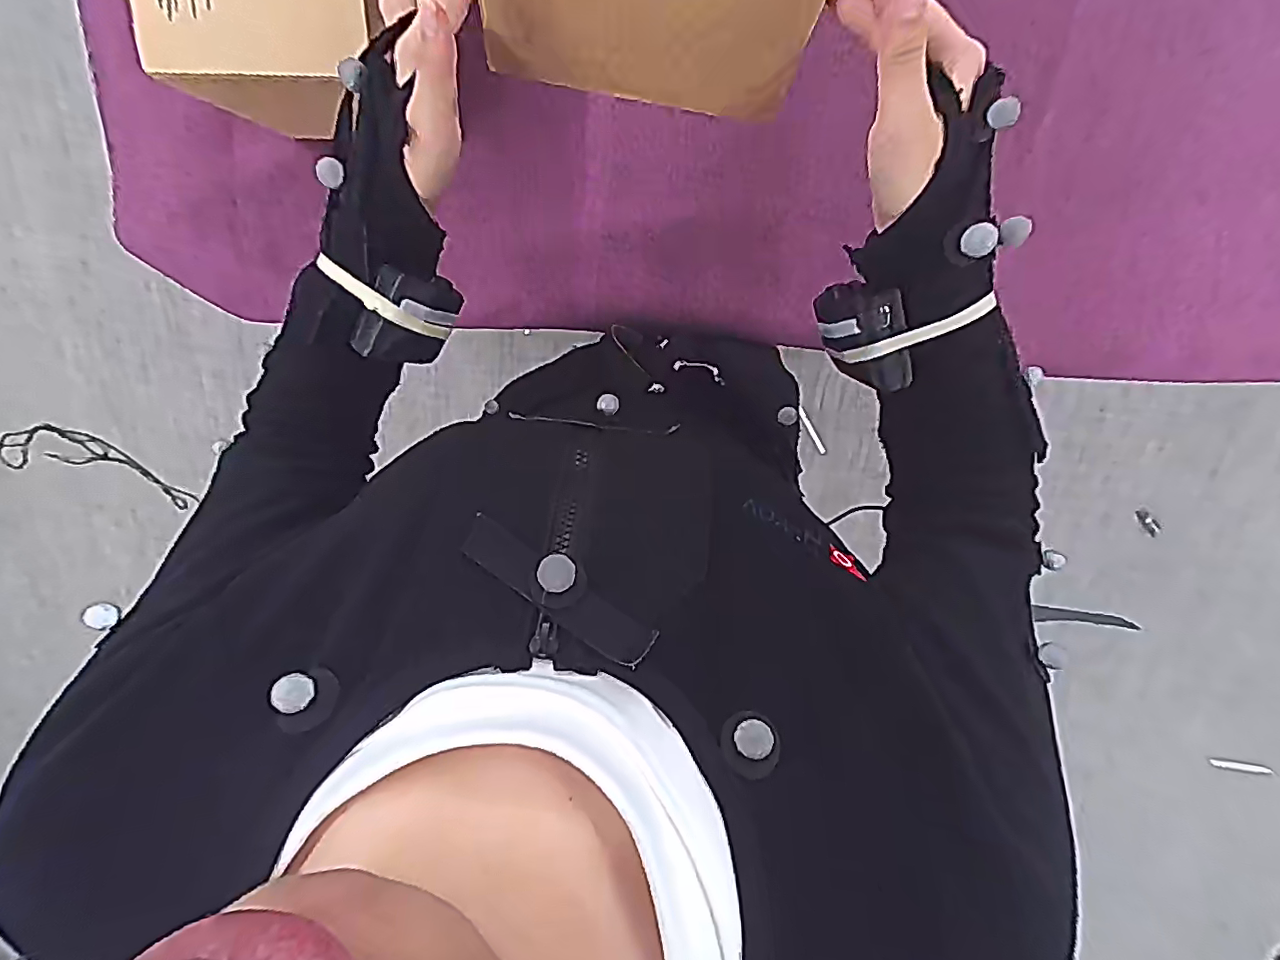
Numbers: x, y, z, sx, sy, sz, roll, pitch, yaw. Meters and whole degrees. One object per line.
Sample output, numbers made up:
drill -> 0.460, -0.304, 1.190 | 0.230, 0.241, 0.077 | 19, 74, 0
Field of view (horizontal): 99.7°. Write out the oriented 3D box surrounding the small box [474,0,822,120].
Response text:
small box -> 0.013, -0.326, 0.265 | 0.179, 0.168, 0.176 | 7, 70, -5
